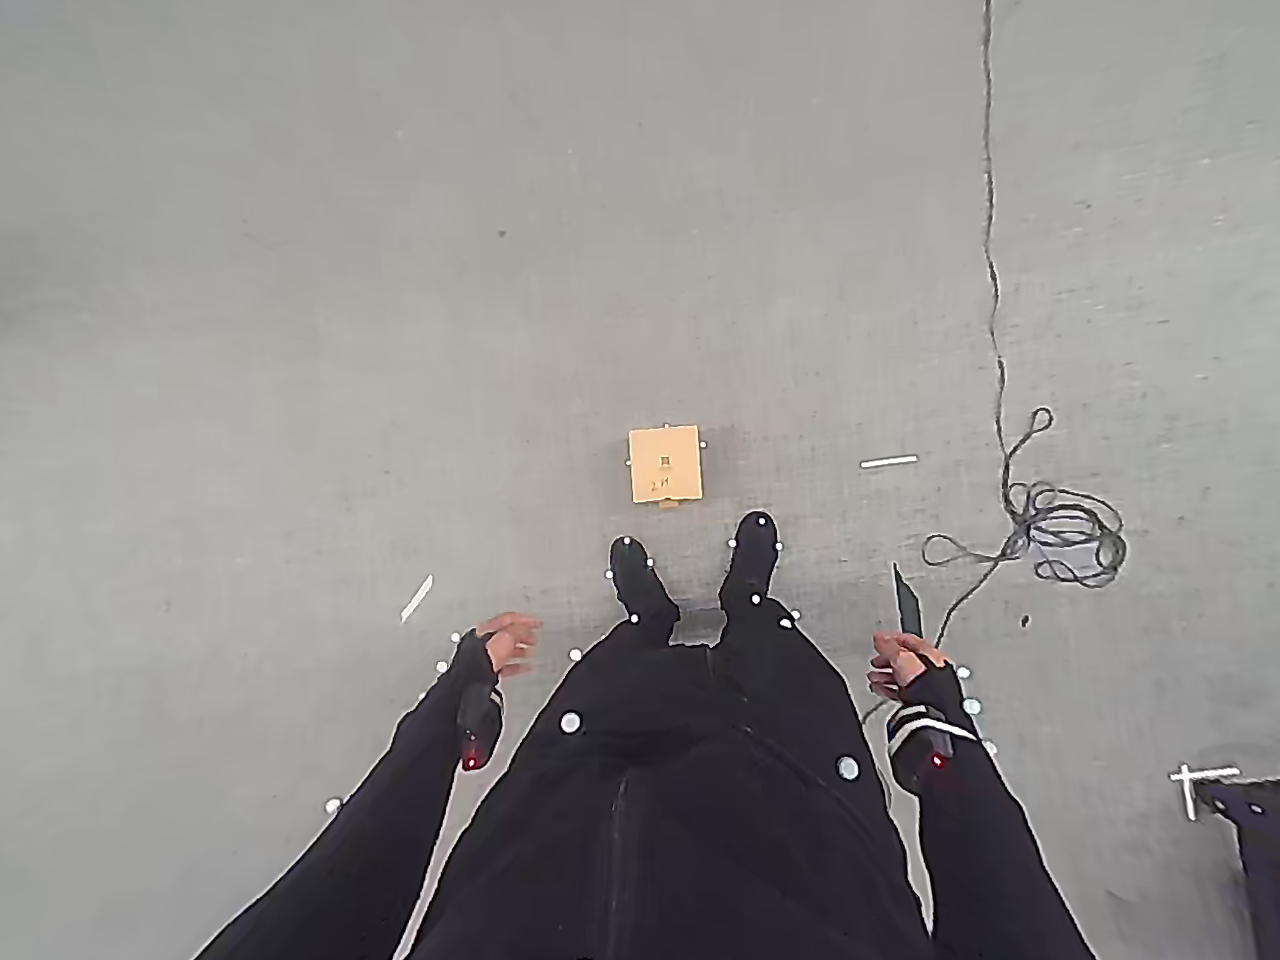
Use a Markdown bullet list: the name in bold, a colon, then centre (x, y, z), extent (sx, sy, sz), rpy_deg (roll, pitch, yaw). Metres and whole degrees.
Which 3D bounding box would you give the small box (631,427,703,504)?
- **small box**: centre (0.070, -0.034, 1.355), extent (0.168, 0.176, 0.179), rpy_deg (-4, 91, 6)
